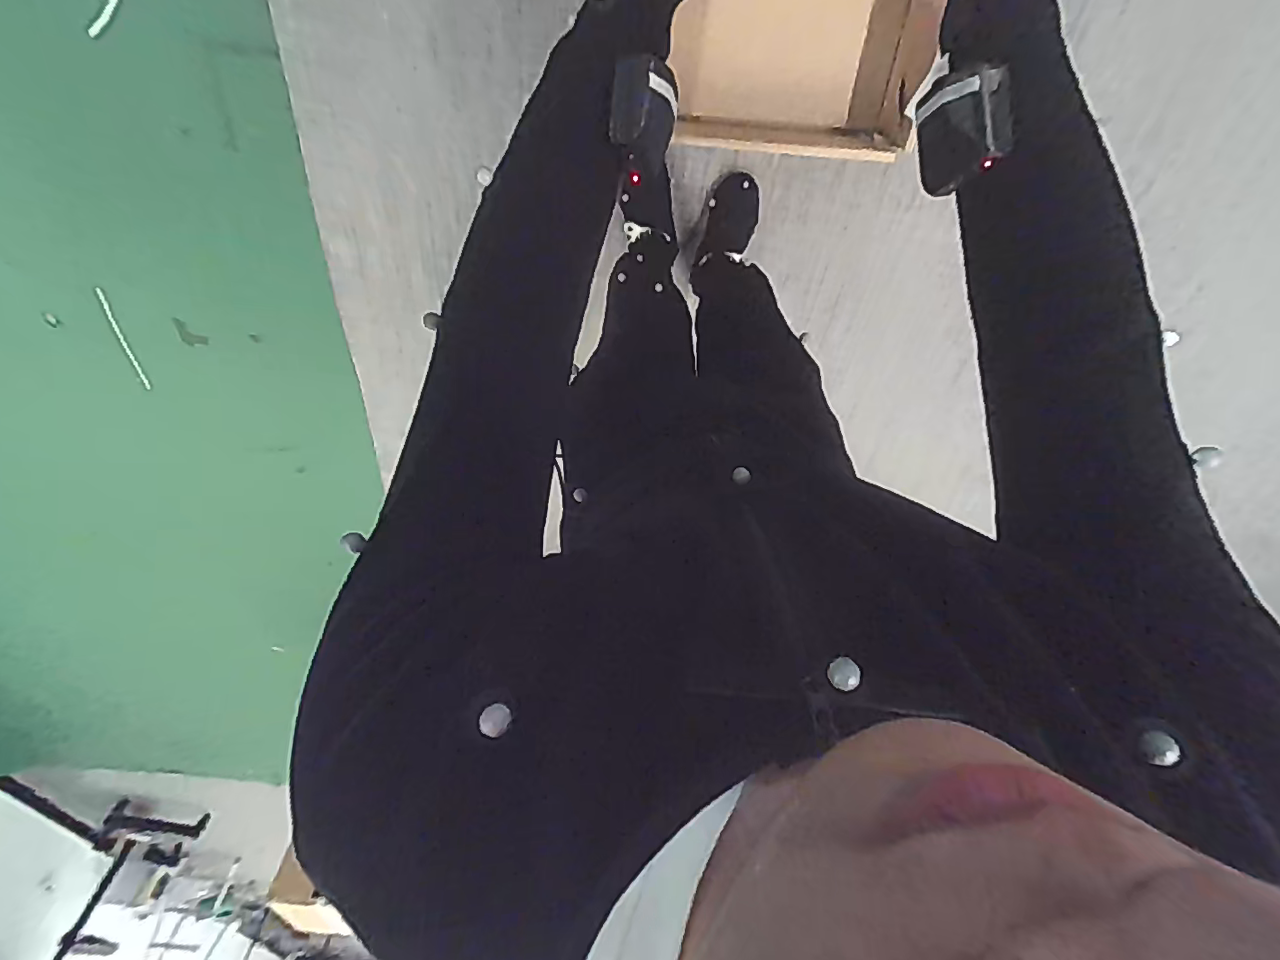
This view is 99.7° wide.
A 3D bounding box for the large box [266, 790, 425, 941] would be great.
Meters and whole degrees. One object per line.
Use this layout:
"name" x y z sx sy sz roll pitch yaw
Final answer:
"large box" -0.933 1.269 1.780 0.320 0.320 0.408 6 129 -6
